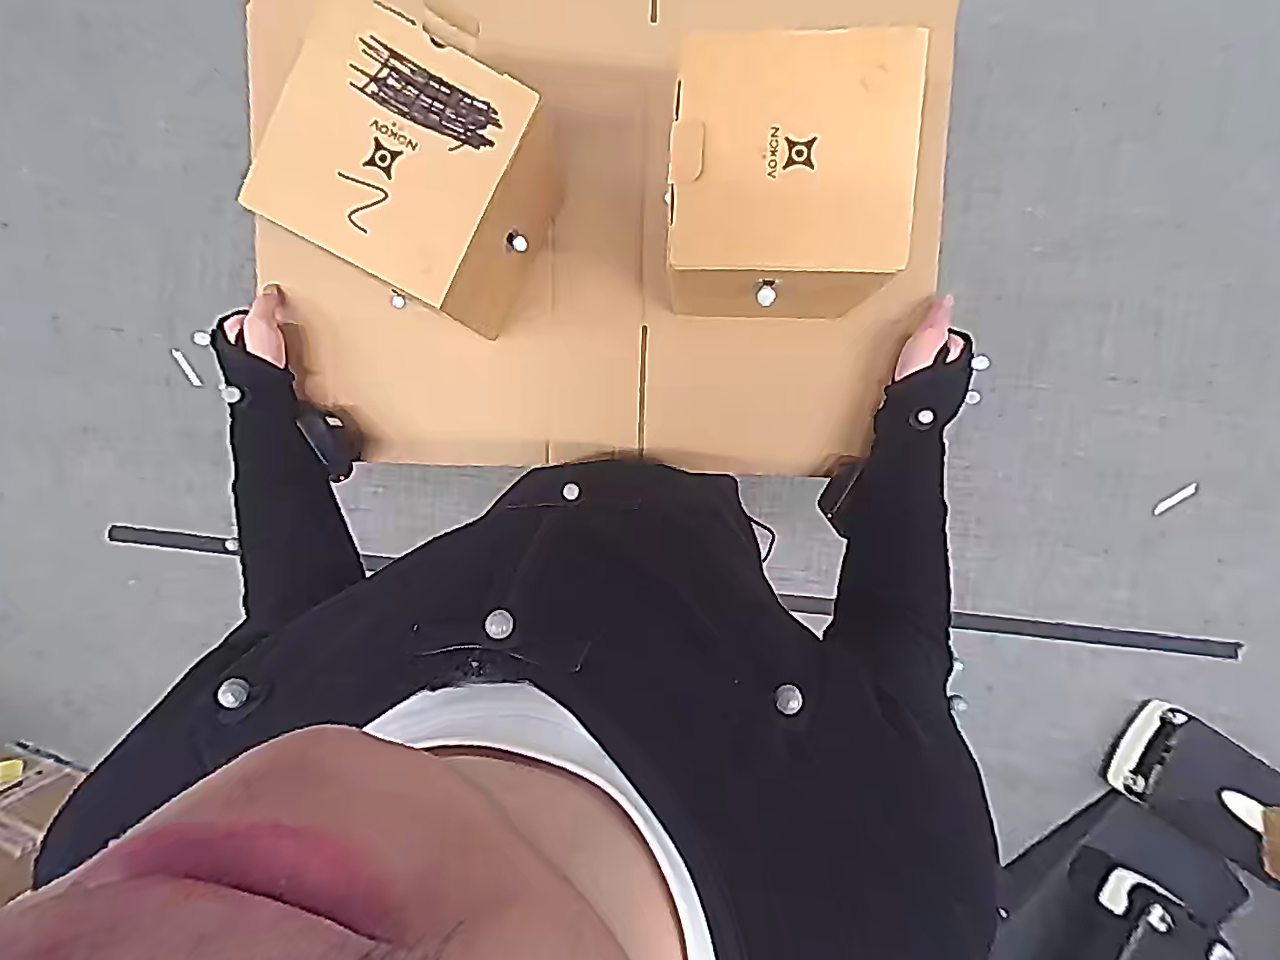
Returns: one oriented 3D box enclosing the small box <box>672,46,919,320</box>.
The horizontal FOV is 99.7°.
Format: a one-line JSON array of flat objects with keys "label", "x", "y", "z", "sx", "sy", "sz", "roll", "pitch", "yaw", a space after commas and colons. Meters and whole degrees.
[{"label": "small box", "x": 0.122, "y": -0.246, "z": 0.488, "sx": 0.179, "sy": 0.176, "sz": 0.168, "roll": 3, "pitch": 95, "yaw": 6}]
